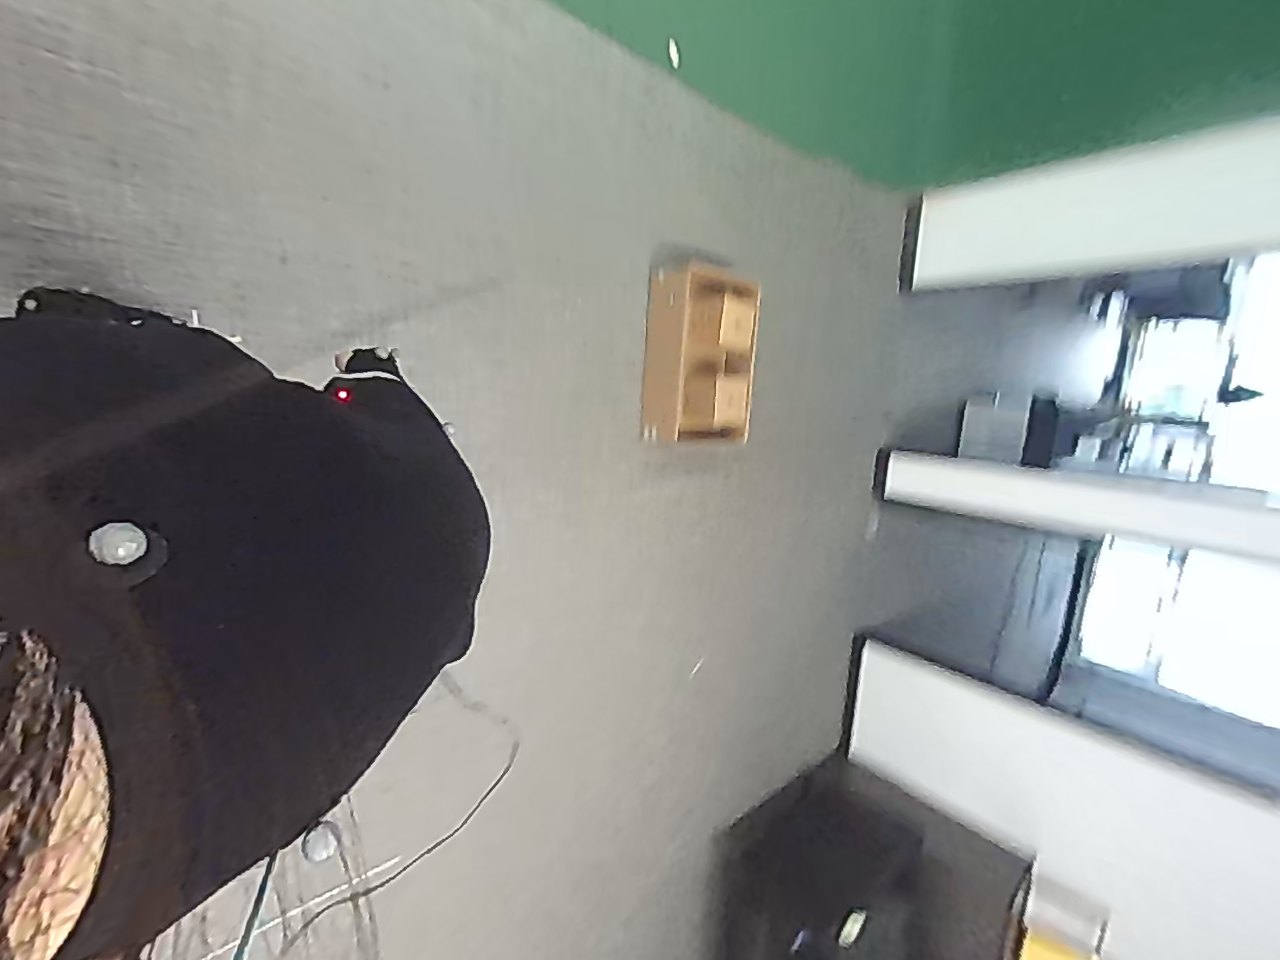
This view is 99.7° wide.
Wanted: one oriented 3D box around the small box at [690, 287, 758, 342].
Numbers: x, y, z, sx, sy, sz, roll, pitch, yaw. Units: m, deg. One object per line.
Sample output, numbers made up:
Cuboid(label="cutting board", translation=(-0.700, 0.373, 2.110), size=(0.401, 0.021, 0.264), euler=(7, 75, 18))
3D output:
Cuboid(label="small box", translation=(0.307, -0.604, 1.999), size=(0.179, 0.176, 0.168), euler=(-1, 102, -41))

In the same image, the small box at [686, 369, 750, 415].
Cuboid(label="small box", translation=(0.293, -0.335, 2.047), size=(0.179, 0.176, 0.168), euler=(-6, 104, -39))
